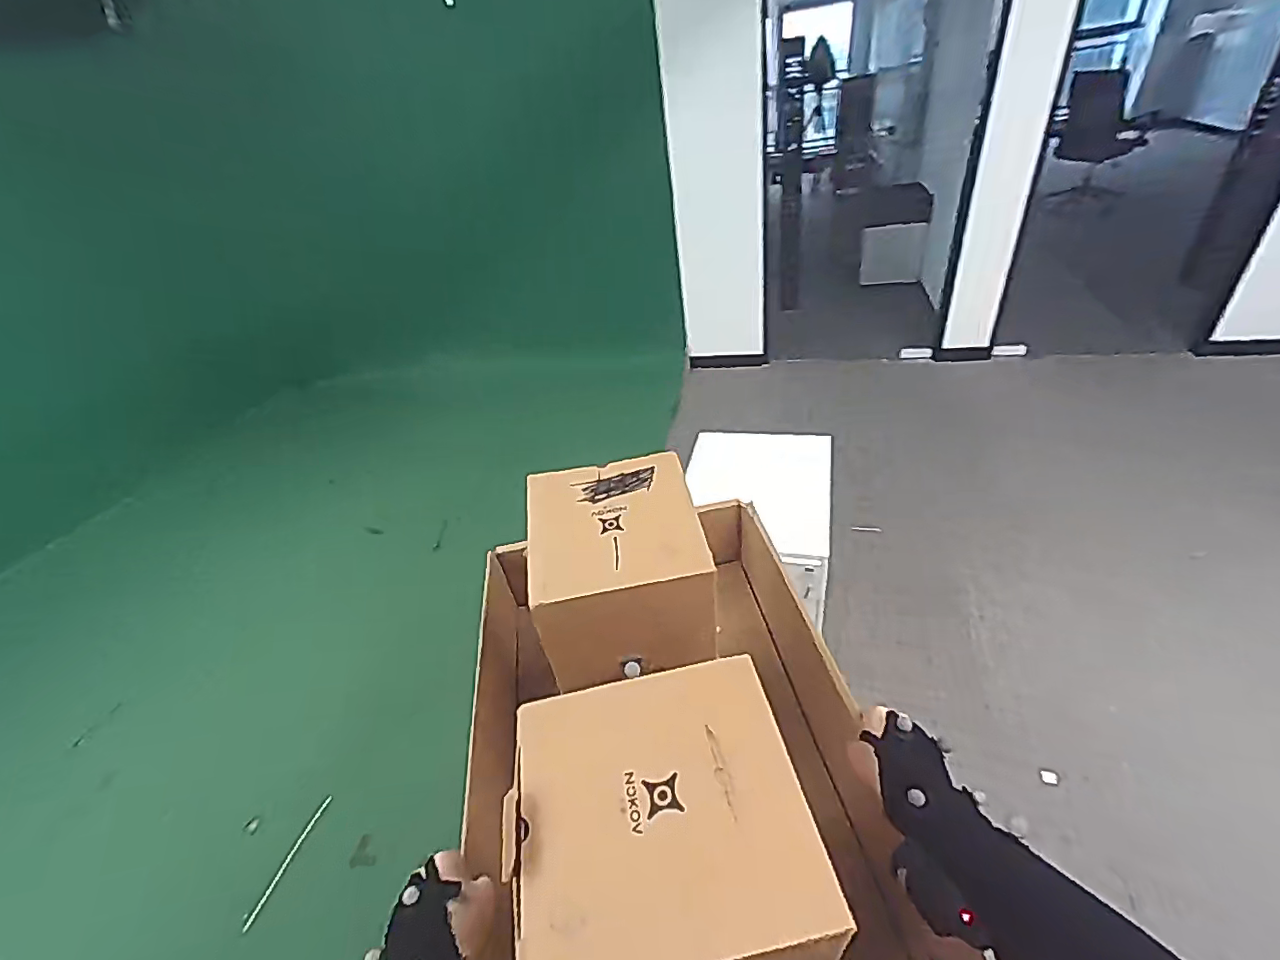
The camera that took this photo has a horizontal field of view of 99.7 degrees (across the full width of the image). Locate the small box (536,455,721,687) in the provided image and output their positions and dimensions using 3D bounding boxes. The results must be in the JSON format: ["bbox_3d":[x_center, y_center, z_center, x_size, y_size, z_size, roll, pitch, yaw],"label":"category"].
[{"bbox_3d":[-0.014,0.099,0.585,0.168,0.176,0.179,-9,42,-3],"label":"small box"}]

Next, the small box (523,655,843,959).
[{"bbox_3d":[0.021,0.259,0.392,0.179,0.176,0.168,-10,39,-4],"label":"small box"}]
